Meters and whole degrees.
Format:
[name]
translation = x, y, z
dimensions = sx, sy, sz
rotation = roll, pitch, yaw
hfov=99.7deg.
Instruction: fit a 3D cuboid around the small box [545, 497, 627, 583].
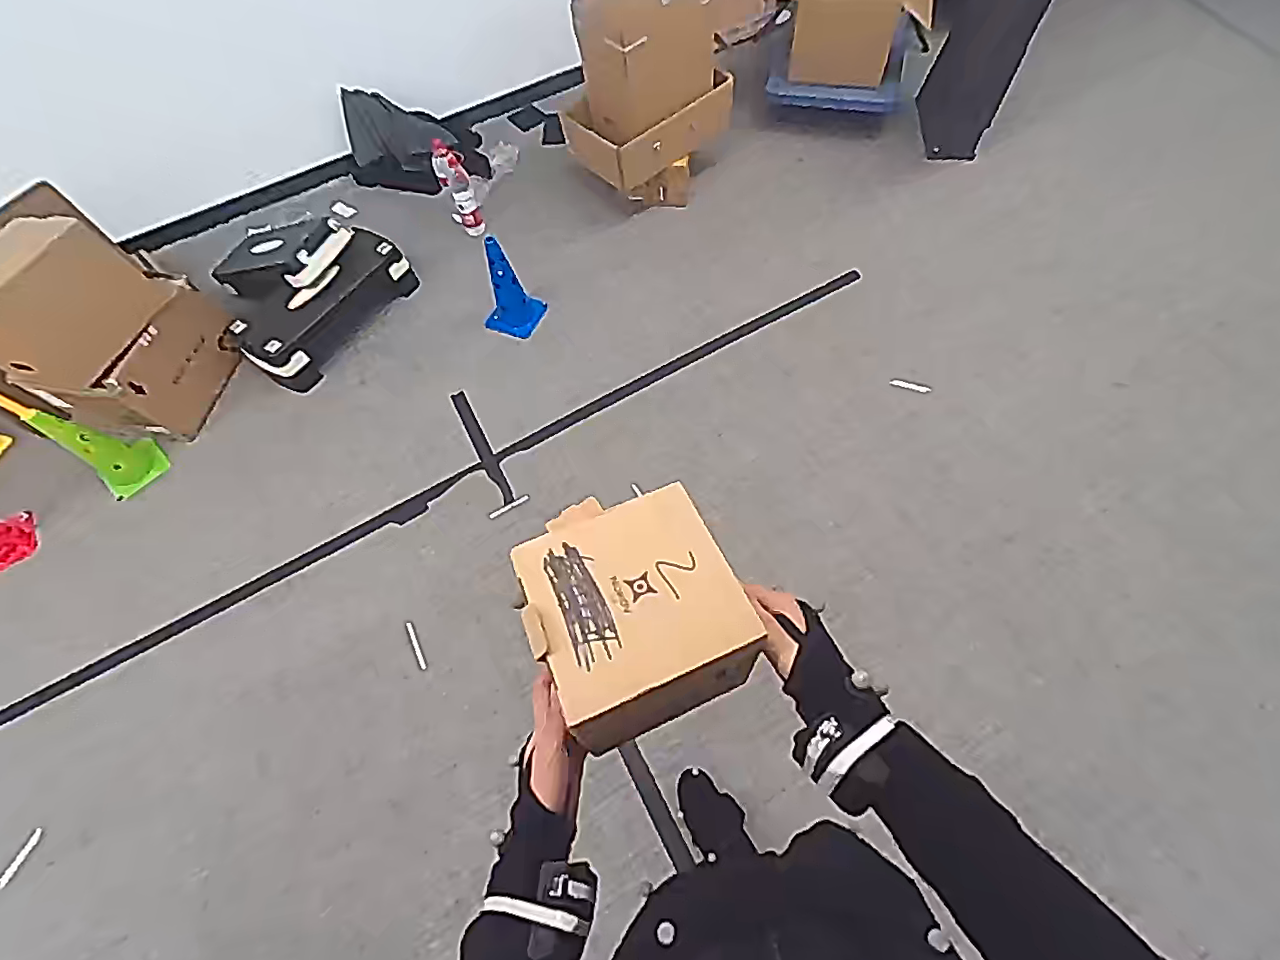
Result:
[small box]
translation = -0.153, 0.186, 1.600
dimensions = 0.168, 0.176, 0.179
rotation = -32, 64, -12
